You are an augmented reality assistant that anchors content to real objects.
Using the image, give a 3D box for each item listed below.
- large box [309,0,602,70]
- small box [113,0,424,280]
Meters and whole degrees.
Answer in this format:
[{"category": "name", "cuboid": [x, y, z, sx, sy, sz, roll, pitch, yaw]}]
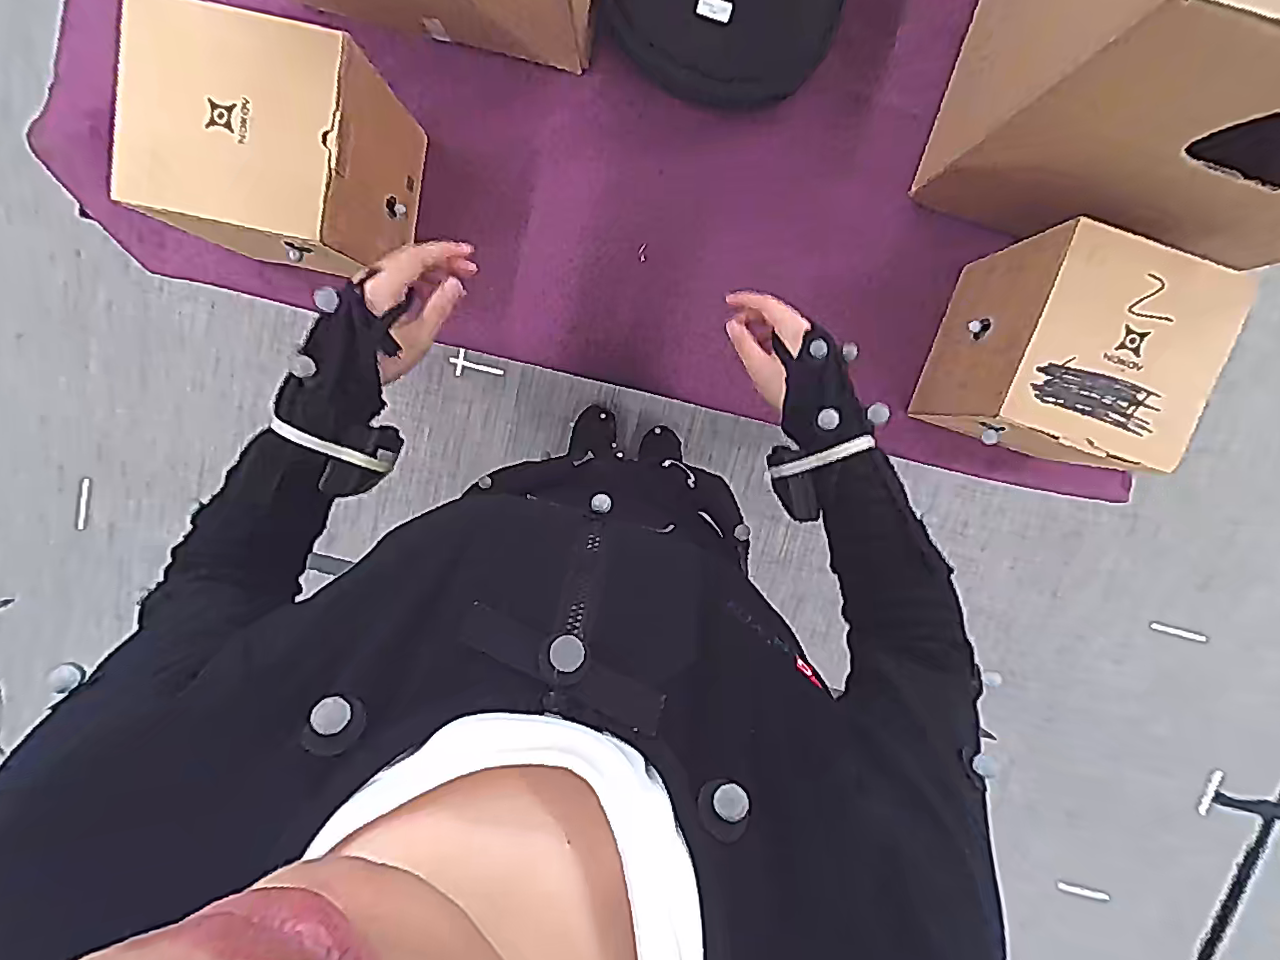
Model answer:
[{"category": "large box", "cuboid": [-0.162, -0.634, 0.399, 0.320, 0.320, 0.408, 12, 101, -1]}, {"category": "small box", "cuboid": [-0.333, -0.304, 0.516, 0.179, 0.176, 0.168, 10, 97, -2]}]
